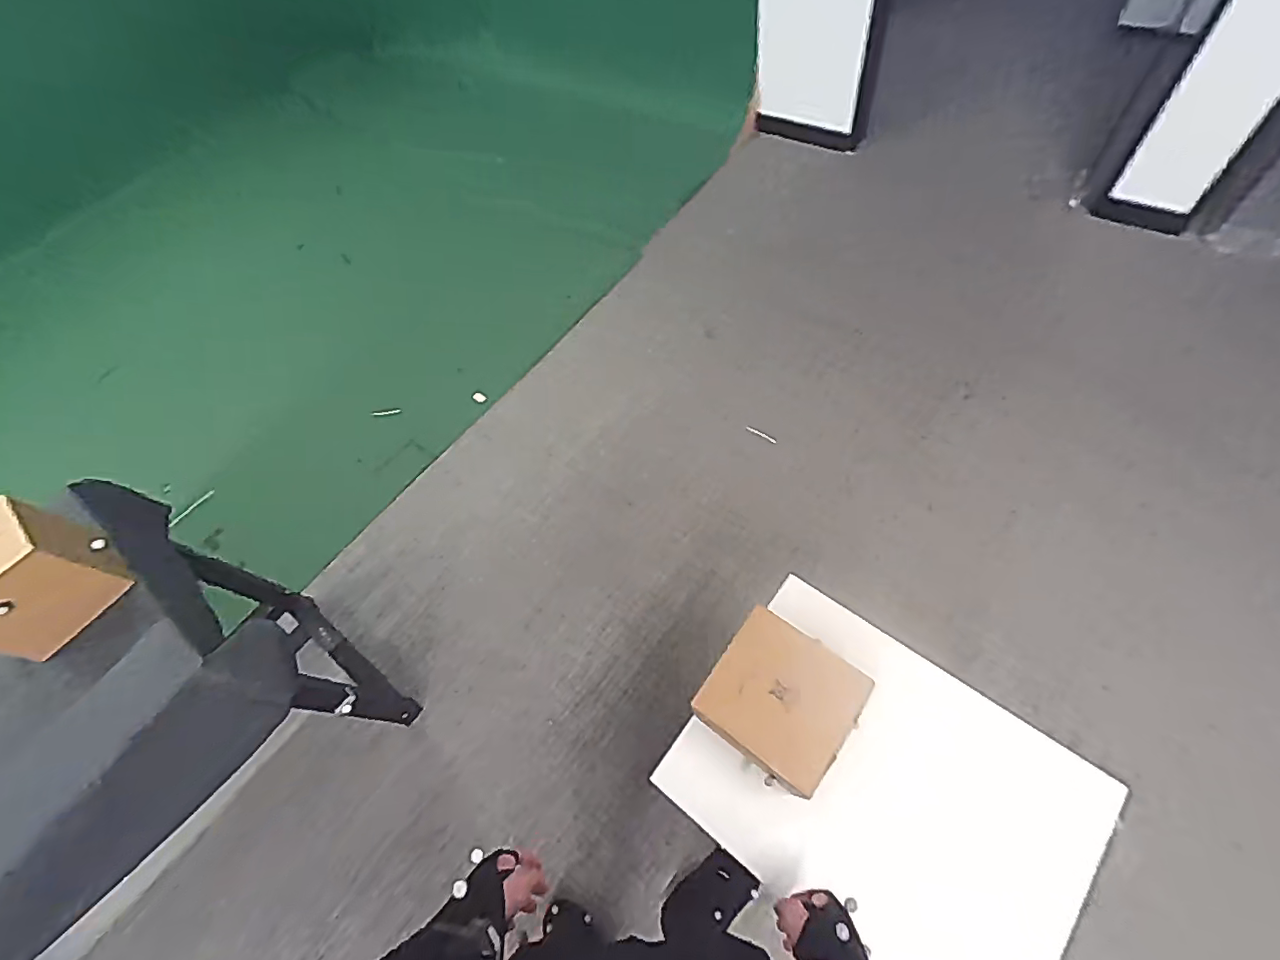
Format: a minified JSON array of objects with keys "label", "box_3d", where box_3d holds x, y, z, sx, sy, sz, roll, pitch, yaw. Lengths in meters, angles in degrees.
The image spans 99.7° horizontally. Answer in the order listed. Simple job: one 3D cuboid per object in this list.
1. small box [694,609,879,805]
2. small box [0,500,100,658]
[{"label":"small box","box_3d":[0.192,0.313,0.747,0.179,0.176,0.168,31,67,22]},{"label":"small box","box_3d":[-1.022,0.150,0.840,0.168,0.176,0.179,34,69,23]}]
